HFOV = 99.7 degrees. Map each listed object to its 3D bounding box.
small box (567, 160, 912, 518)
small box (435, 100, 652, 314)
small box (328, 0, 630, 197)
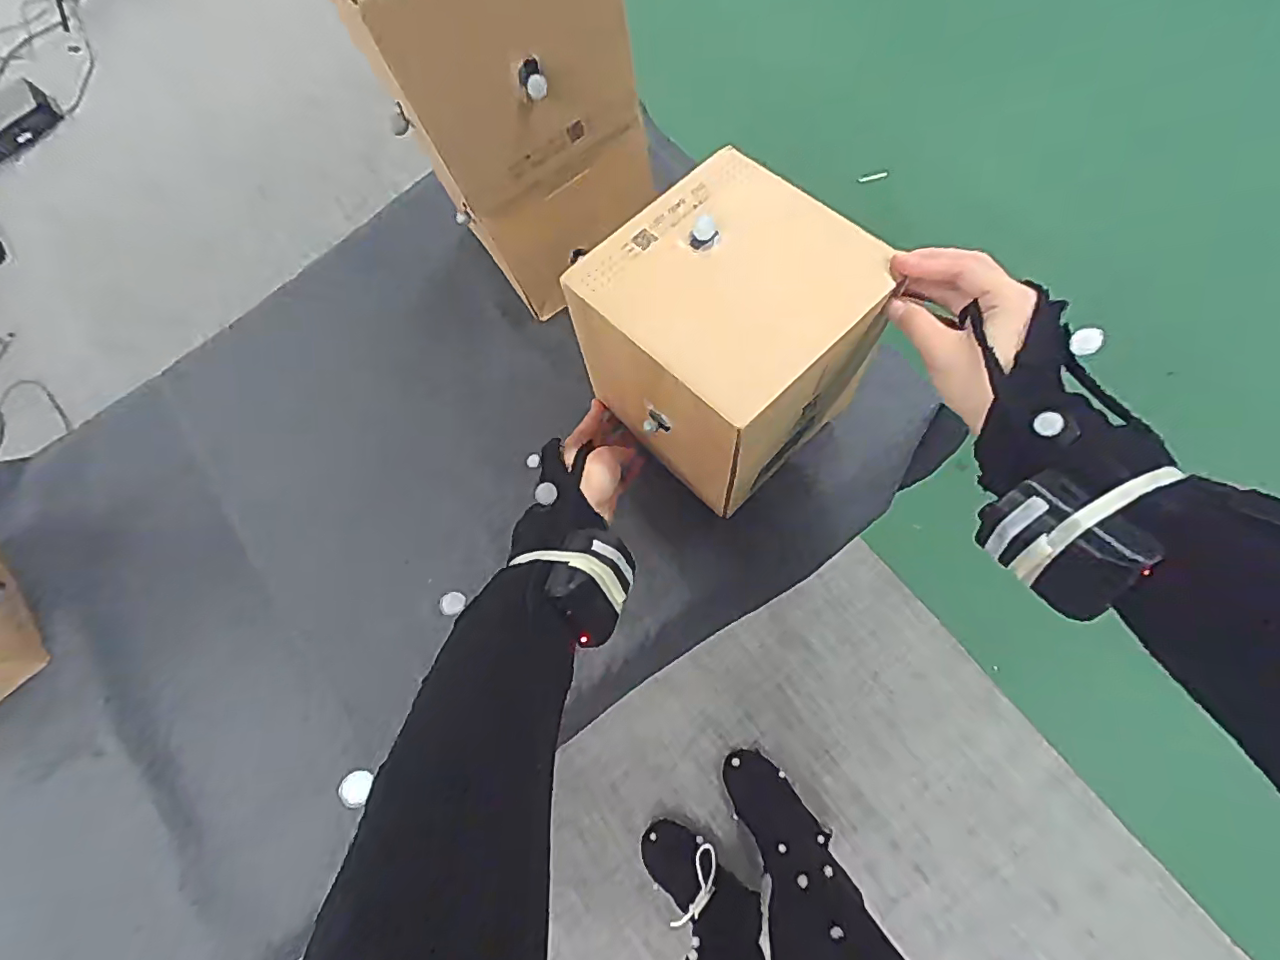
[{"bbox_3d":[0.066,-0.103,0.430,0.168,0.179,0.176,-42,70,-11],"label":"small box"},{"bbox_3d":[-0.103,-0.309,0.552,0.168,0.176,0.179,-35,74,-2],"label":"small box"},{"bbox_3d":[-0.124,-0.345,0.393,0.168,0.176,0.179,-35,75,-2],"label":"small box"}]
